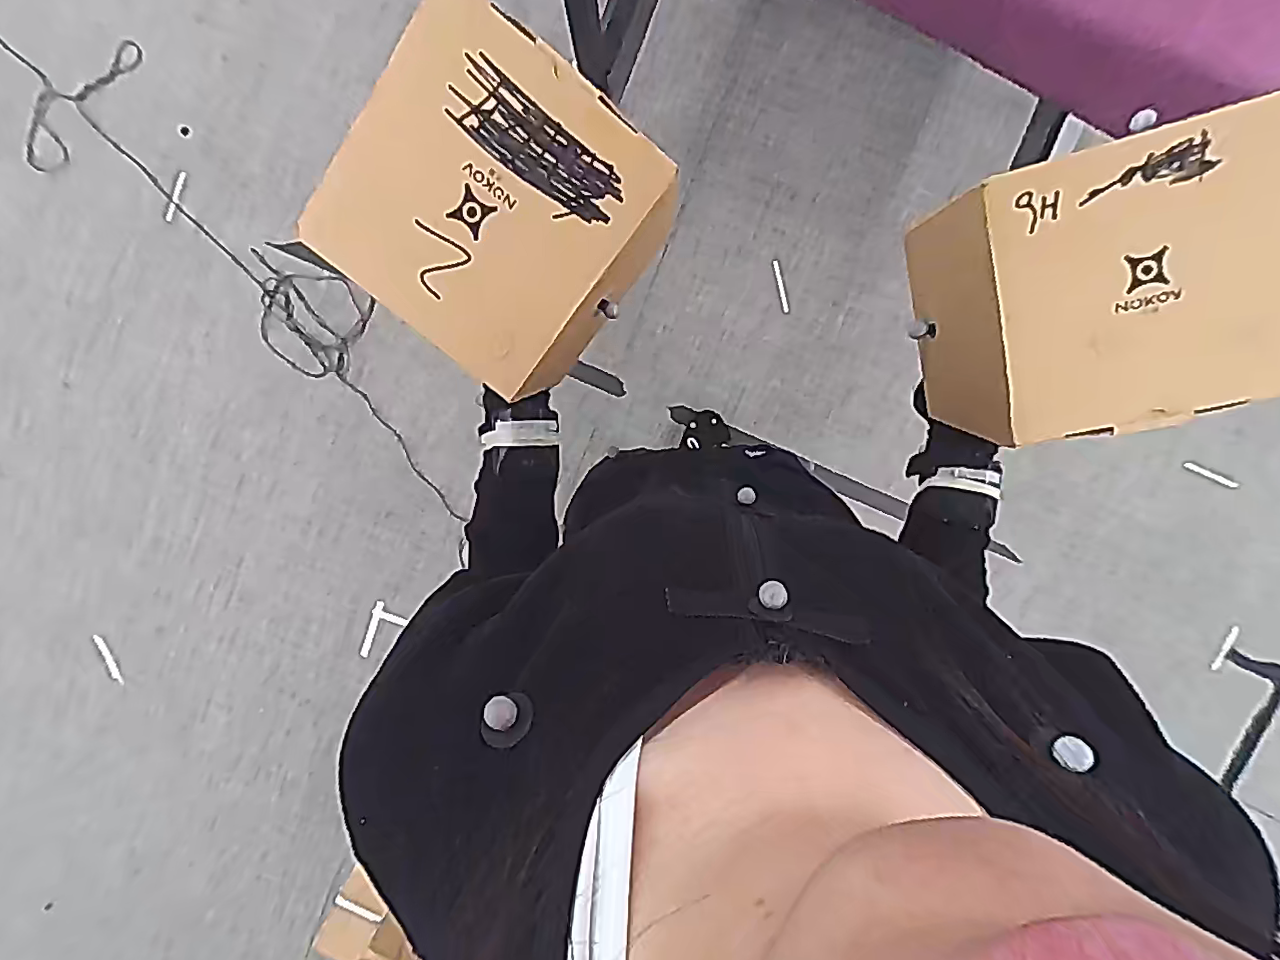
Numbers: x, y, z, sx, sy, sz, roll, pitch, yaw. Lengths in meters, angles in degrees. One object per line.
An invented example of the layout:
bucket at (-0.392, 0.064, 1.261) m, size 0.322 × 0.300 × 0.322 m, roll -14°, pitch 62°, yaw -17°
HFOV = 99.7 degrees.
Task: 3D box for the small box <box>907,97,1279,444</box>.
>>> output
small box at (0.325, -0.142, 0.415) m, size 0.168 × 0.176 × 0.179 m, roll -12°, pitch 102°, yaw 11°

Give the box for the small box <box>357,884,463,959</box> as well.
small box at (-0.534, 1.080, 1.231) m, size 0.179 × 0.176 × 0.168 m, roll 31°, pitch 95°, yaw -1°
